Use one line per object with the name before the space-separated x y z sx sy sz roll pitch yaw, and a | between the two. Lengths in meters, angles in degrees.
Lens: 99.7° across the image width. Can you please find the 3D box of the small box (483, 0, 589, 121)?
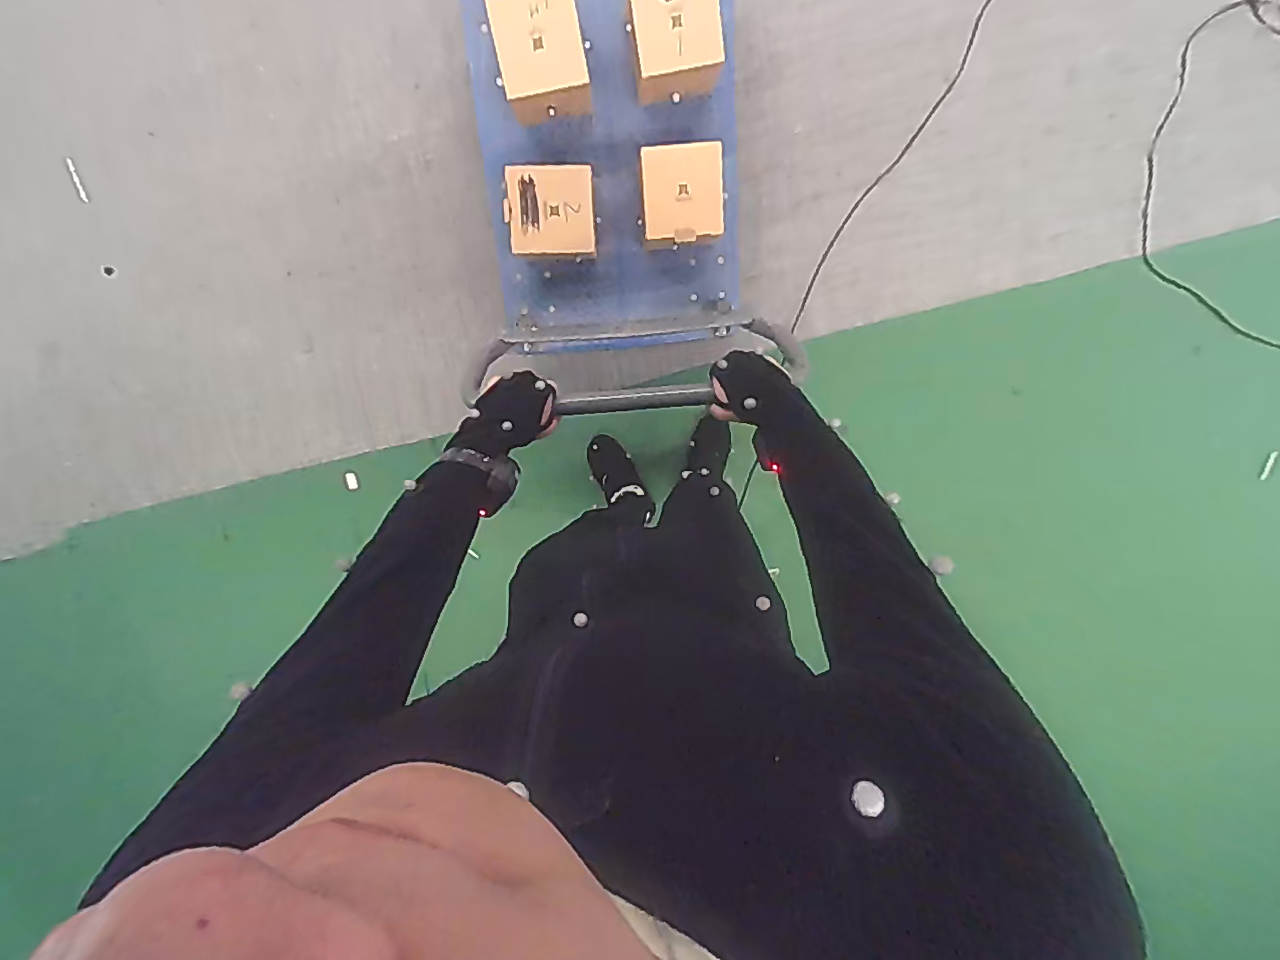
small box | -0.201 -0.857 1.096 0.168 0.176 0.179 -11 108 0

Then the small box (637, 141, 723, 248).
small box | 0.083 -0.618 1.187 0.168 0.176 0.179 -5 108 -1

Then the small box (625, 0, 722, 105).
small box | 0.063 -0.899 1.095 0.168 0.176 0.179 -10 109 1
